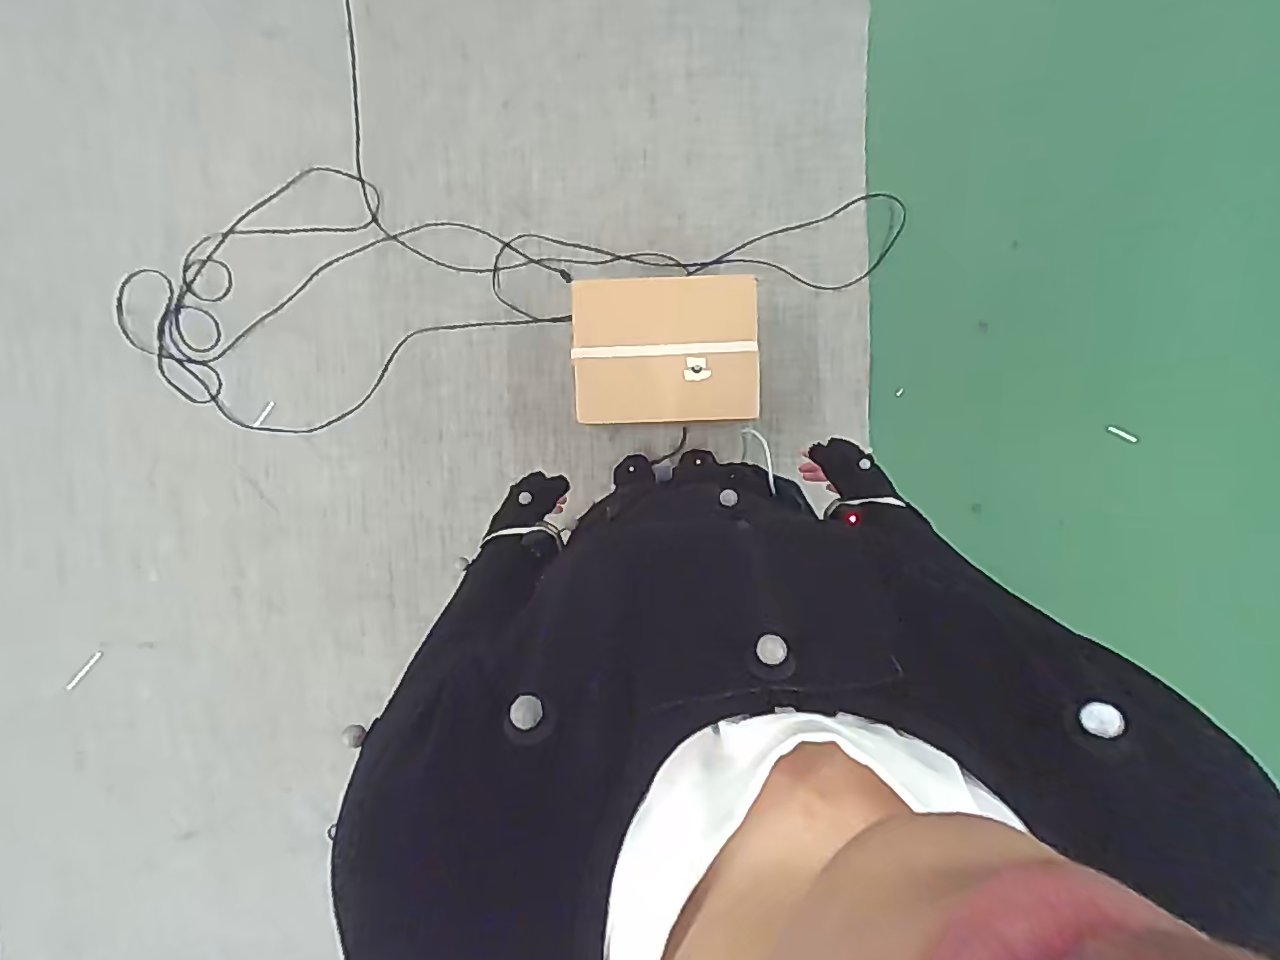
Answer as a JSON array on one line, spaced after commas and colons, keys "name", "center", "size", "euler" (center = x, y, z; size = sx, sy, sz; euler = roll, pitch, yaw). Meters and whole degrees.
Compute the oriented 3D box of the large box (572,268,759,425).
[{"name": "large box", "center": [0.056, -0.304, 1.322], "size": [0.408, 0.320, 0.320], "euler": [-2, 94, 0]}]
